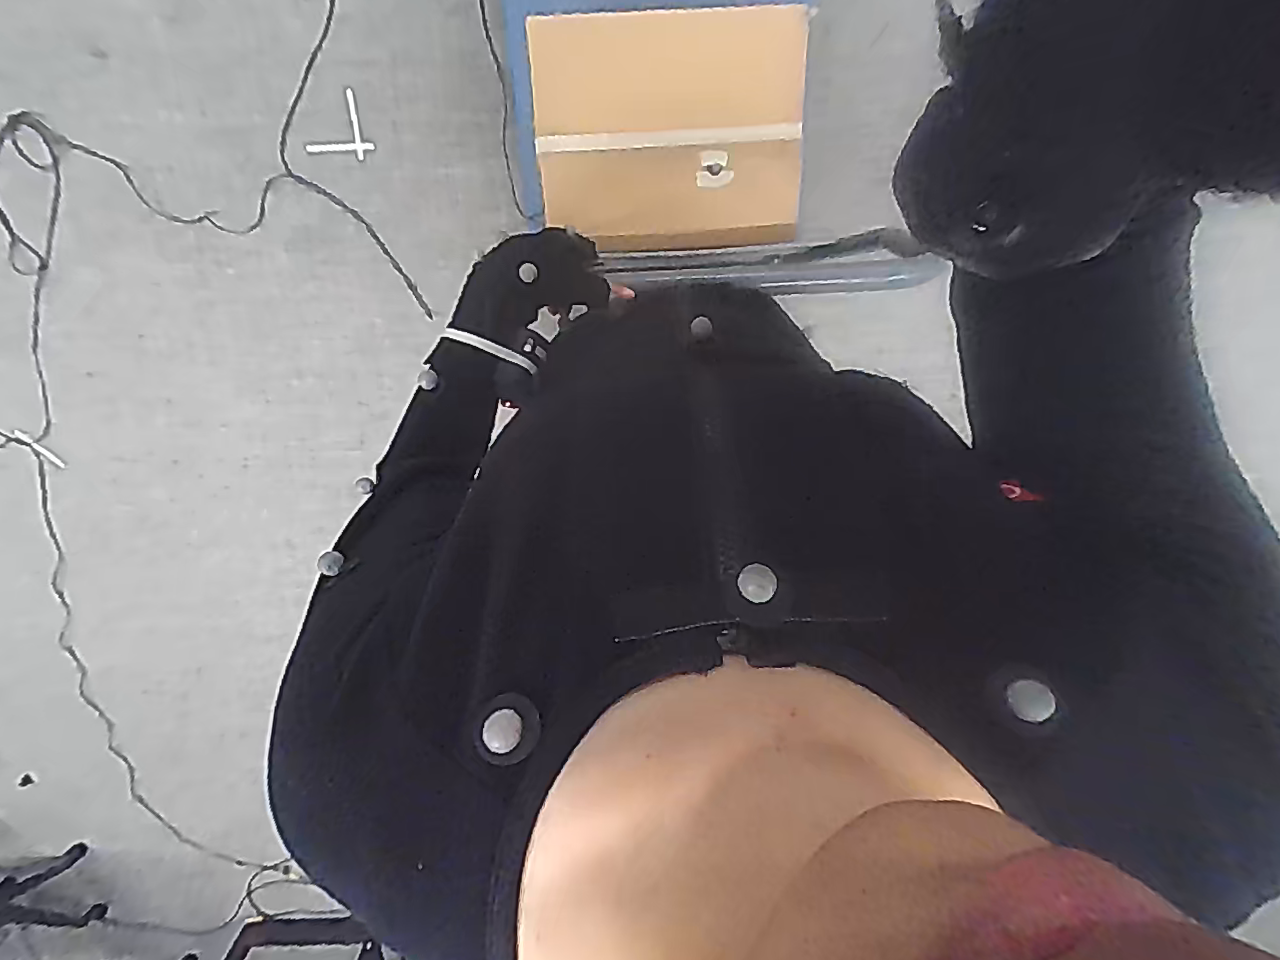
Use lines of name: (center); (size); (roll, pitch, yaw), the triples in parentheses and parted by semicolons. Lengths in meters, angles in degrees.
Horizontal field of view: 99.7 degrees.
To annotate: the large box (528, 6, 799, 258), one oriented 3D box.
large box: (0.036, -0.585, 0.976); (0.408, 0.320, 0.320); (-4, 112, -1)
